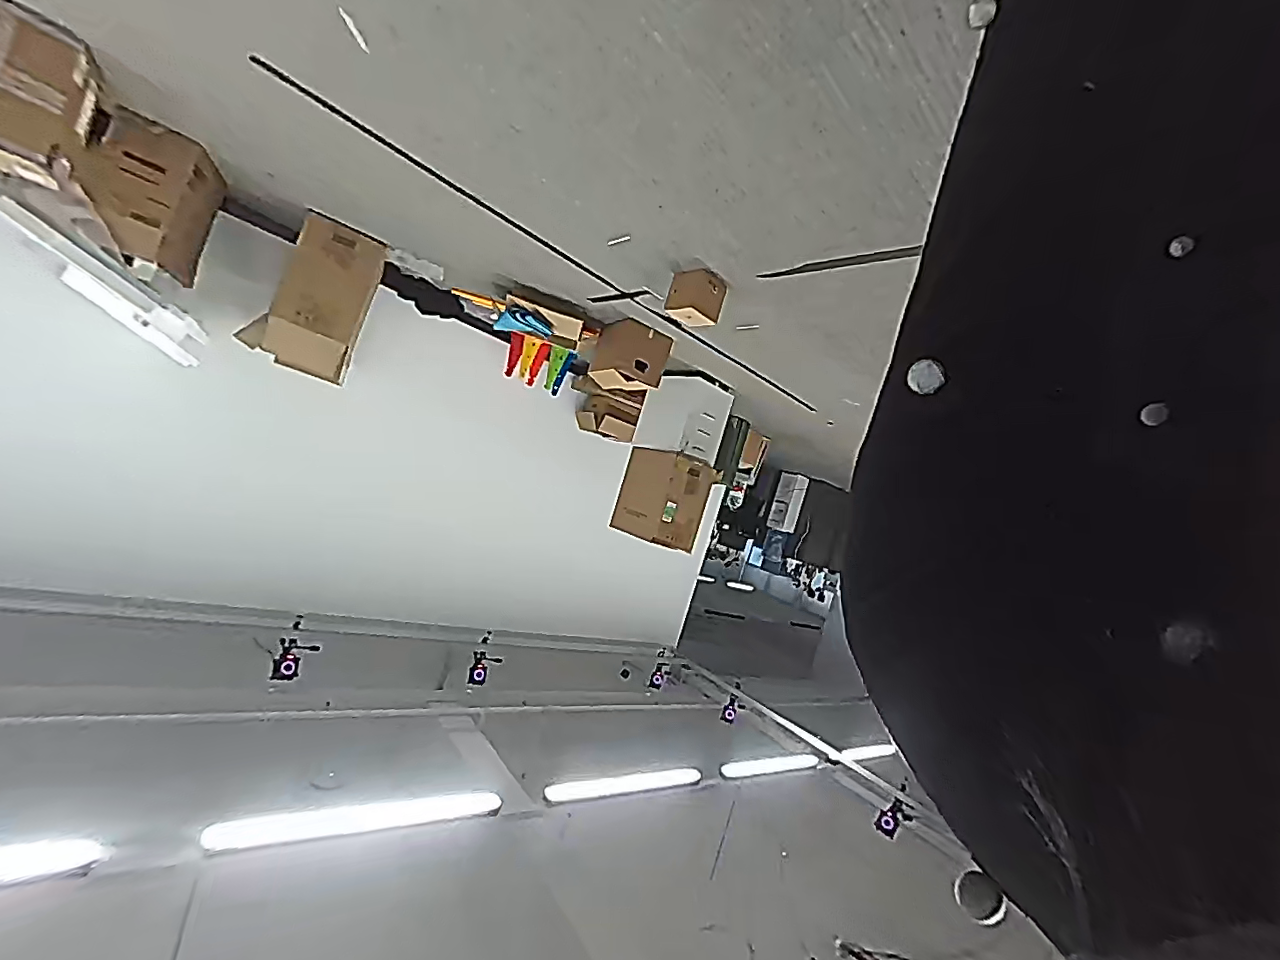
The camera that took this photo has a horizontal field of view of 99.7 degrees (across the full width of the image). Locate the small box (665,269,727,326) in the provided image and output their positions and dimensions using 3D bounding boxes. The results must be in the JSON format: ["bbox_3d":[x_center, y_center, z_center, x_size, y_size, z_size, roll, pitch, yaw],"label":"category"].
[{"bbox_3d":[0.238,-0.768,2.279,0.168,0.176,0.179,18,177,-39],"label":"small box"}]
